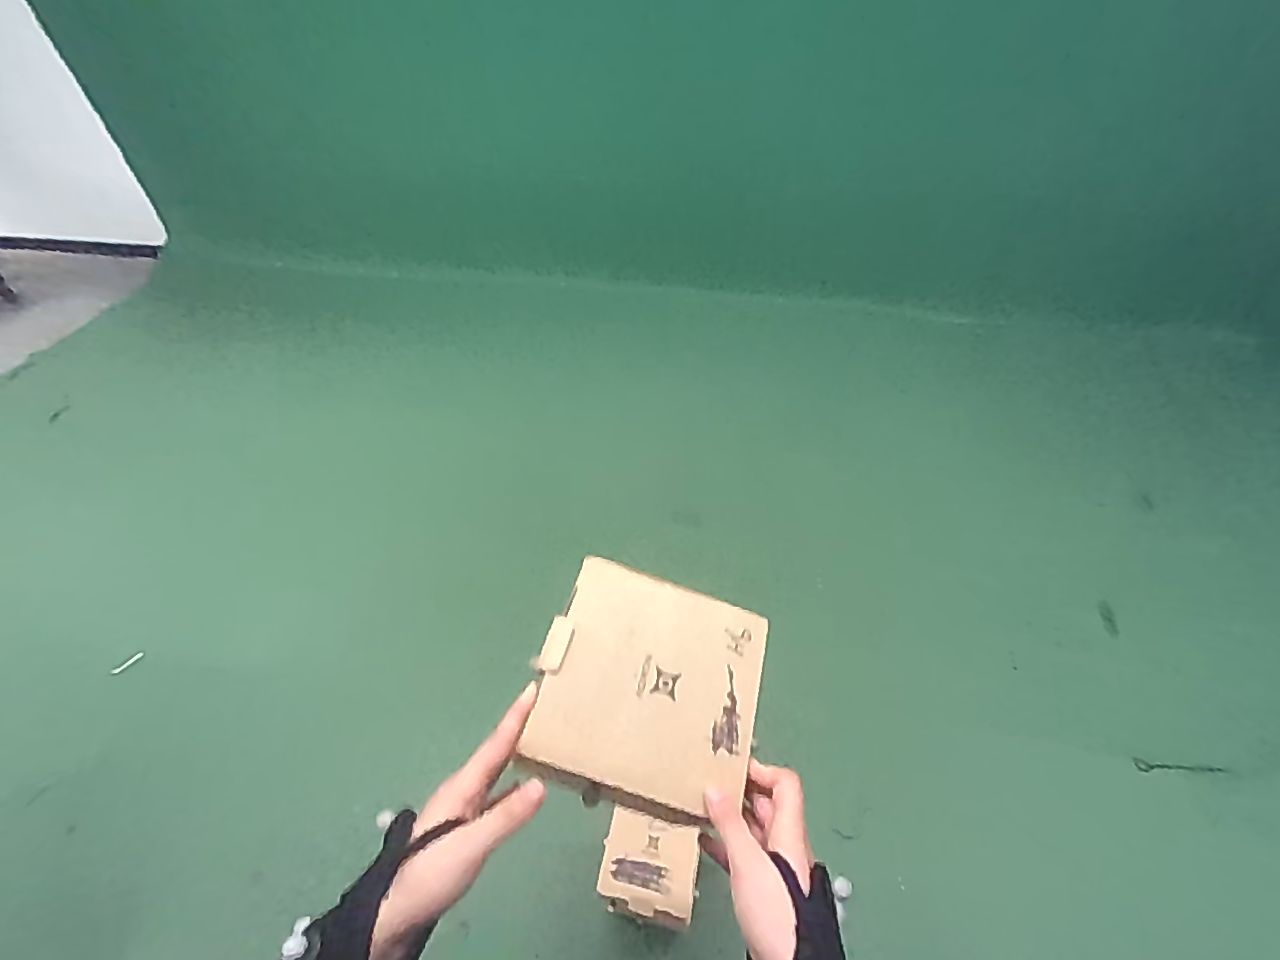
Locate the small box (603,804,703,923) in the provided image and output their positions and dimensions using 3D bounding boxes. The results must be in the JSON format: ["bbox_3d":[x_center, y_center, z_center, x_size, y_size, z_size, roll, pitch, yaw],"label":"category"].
[{"bbox_3d":[0.031,0.820,1.154,0.179,0.176,0.168,9,48,10],"label":"small box"}]
